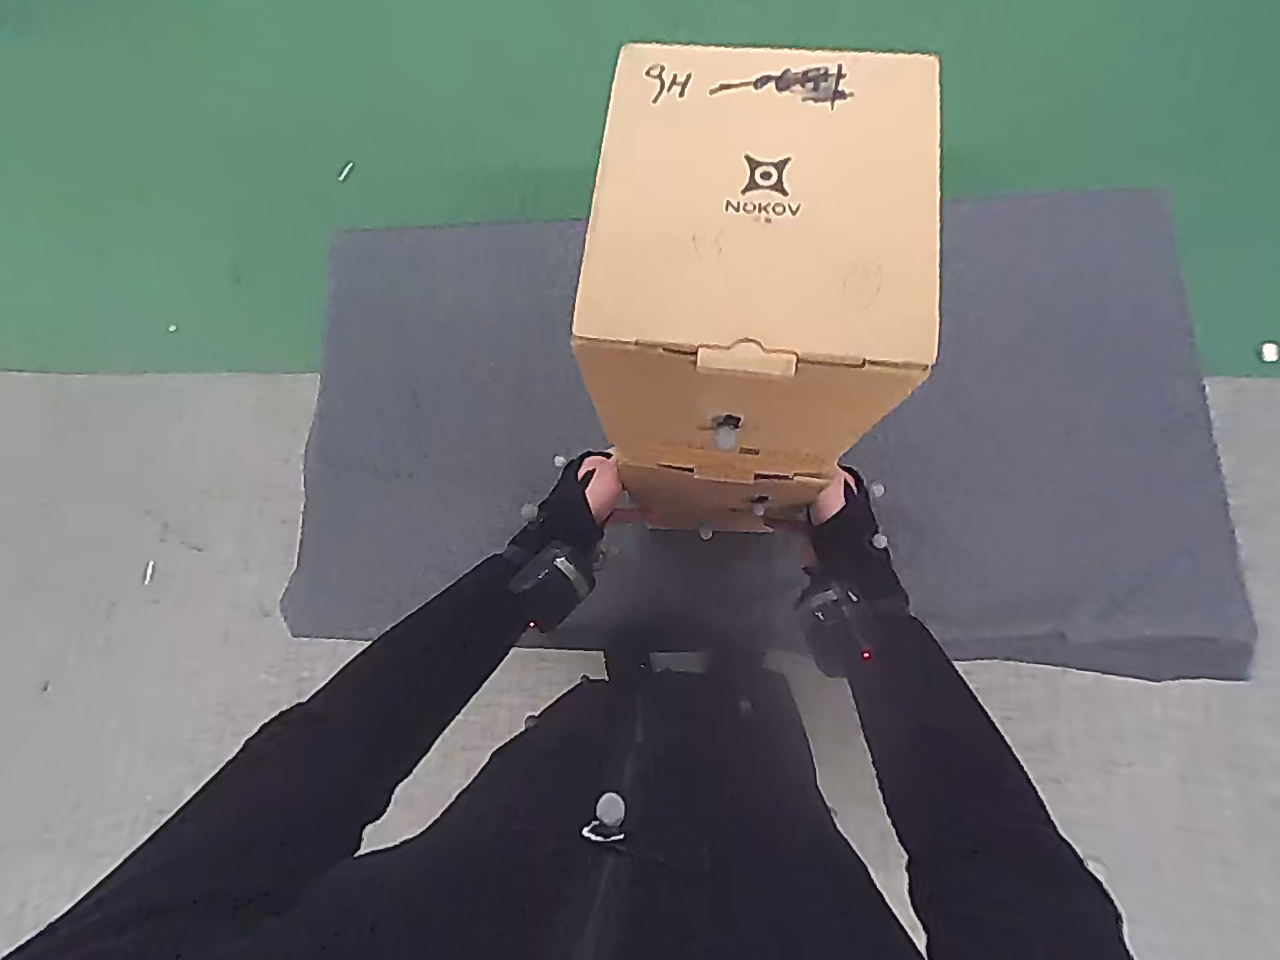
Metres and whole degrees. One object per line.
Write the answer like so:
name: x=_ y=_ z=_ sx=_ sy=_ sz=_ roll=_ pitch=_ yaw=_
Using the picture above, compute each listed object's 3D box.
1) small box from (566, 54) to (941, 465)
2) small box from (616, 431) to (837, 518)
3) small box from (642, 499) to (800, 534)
small box: x=0.063 y=-0.114 z=0.338 sx=0.168 sy=0.176 sz=0.179 roll=6 pitch=79 yaw=6
small box: x=0.077 y=-0.066 z=0.494 sx=0.168 sy=0.176 sz=0.179 roll=4 pitch=76 yaw=5
small box: x=0.093 y=-0.033 z=0.652 sx=0.168 sy=0.176 sz=0.179 roll=1 pitch=79 yaw=6
